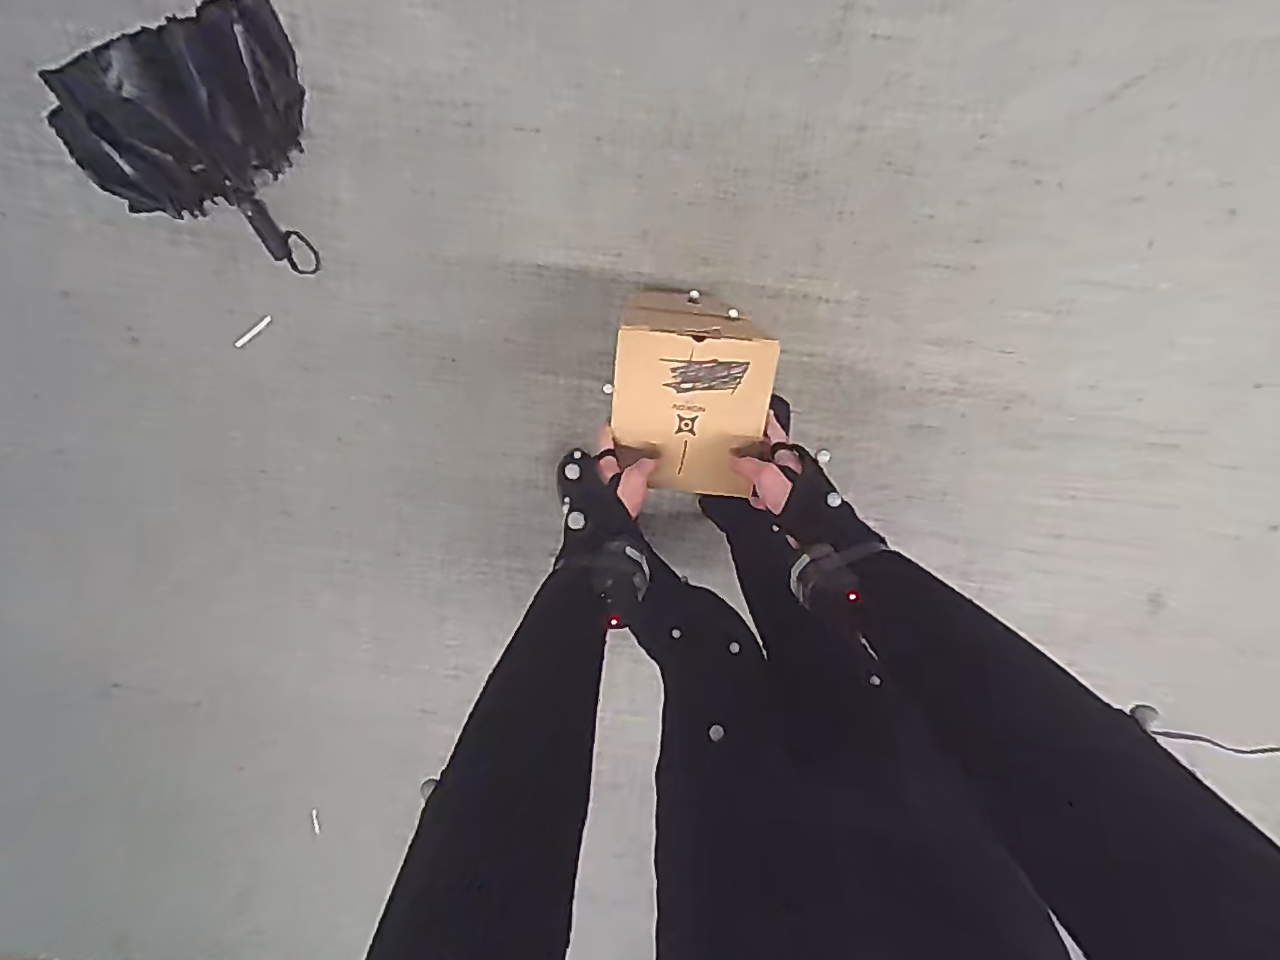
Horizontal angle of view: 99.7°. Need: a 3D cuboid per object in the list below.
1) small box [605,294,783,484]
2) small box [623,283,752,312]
[{"bbox_3d":[0.053,-0.115,0.634,0.168,0.176,0.179,6,114,-1],"label":"small box"},{"bbox_3d":[0.056,-0.183,0.784,0.168,0.176,0.179,5,112,-1],"label":"small box"}]
